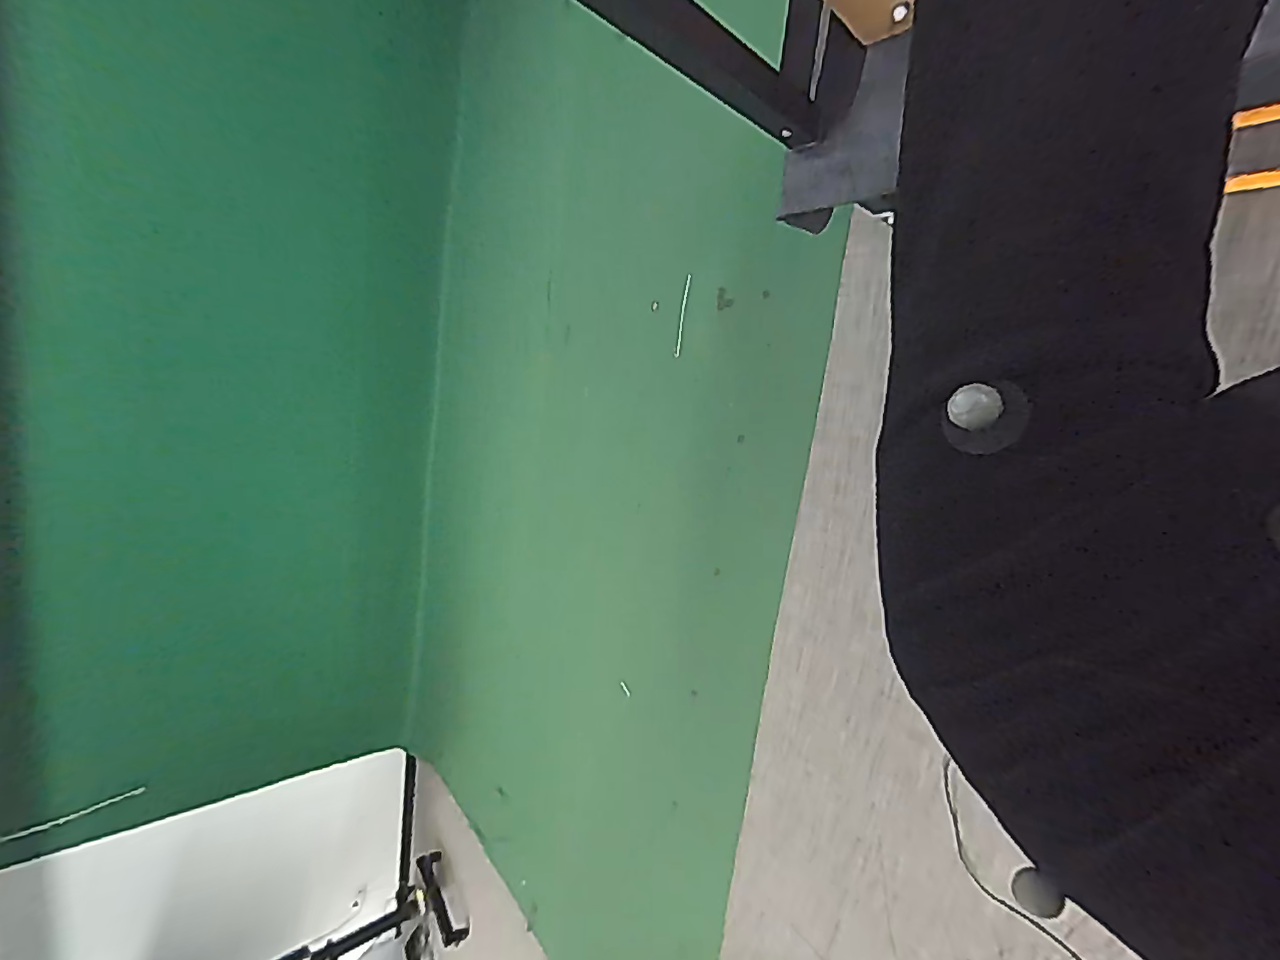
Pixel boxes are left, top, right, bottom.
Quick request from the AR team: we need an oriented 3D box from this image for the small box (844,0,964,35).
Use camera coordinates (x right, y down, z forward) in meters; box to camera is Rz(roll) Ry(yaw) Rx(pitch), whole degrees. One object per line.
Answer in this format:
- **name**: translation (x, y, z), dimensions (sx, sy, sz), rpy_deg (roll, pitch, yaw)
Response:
- **small box**: translation (0.346, -0.735, 0.691), dimensions (0.168, 0.176, 0.179), rpy_deg (16, 103, 47)
